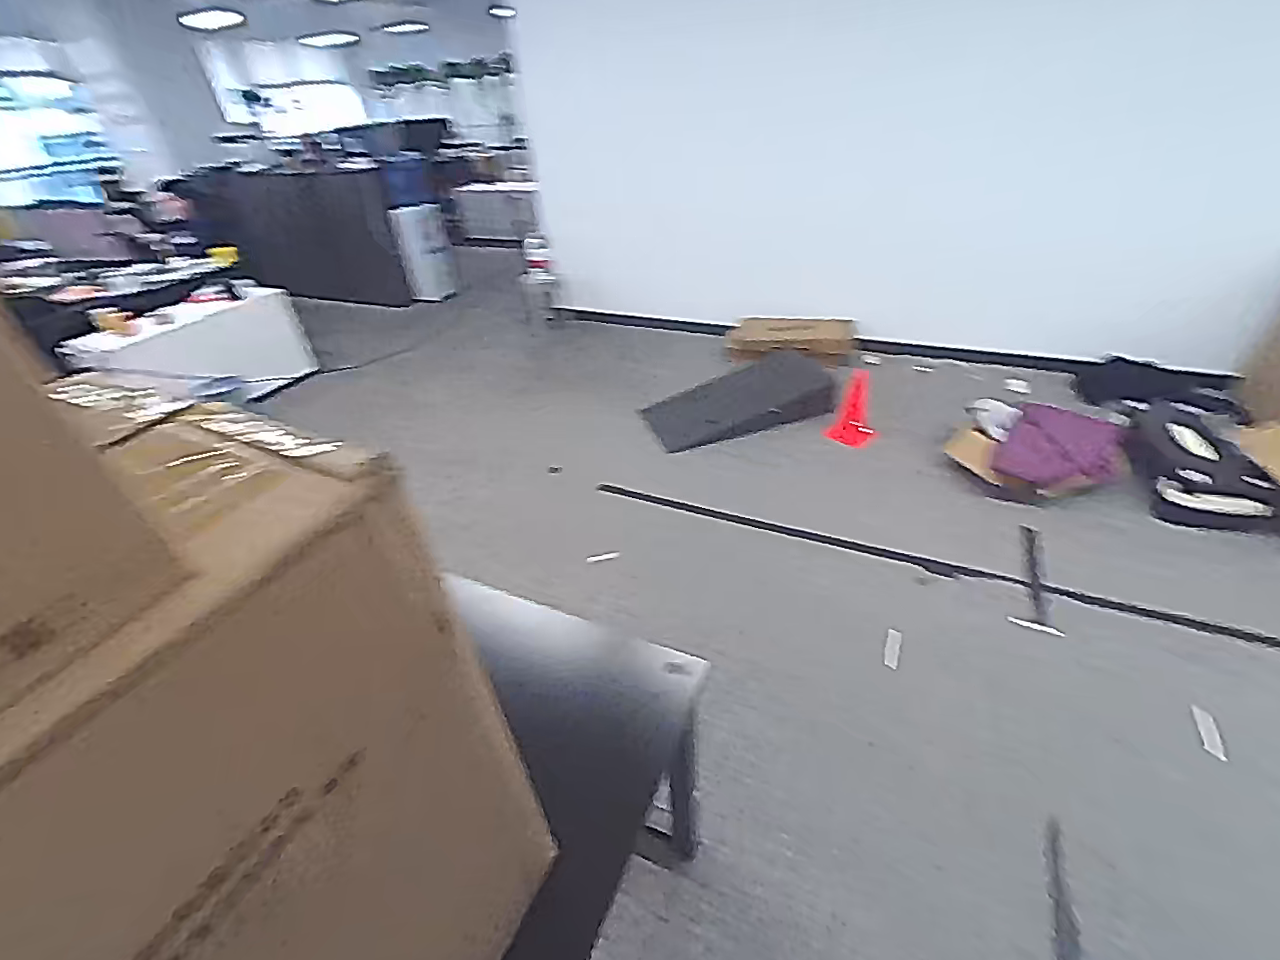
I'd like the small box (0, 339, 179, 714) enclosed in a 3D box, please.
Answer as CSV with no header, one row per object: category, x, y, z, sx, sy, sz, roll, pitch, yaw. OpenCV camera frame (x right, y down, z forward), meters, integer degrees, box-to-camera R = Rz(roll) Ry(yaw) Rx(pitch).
small box,-0.336,0.014,0.193,0.179,0.176,0.168,12,41,21
